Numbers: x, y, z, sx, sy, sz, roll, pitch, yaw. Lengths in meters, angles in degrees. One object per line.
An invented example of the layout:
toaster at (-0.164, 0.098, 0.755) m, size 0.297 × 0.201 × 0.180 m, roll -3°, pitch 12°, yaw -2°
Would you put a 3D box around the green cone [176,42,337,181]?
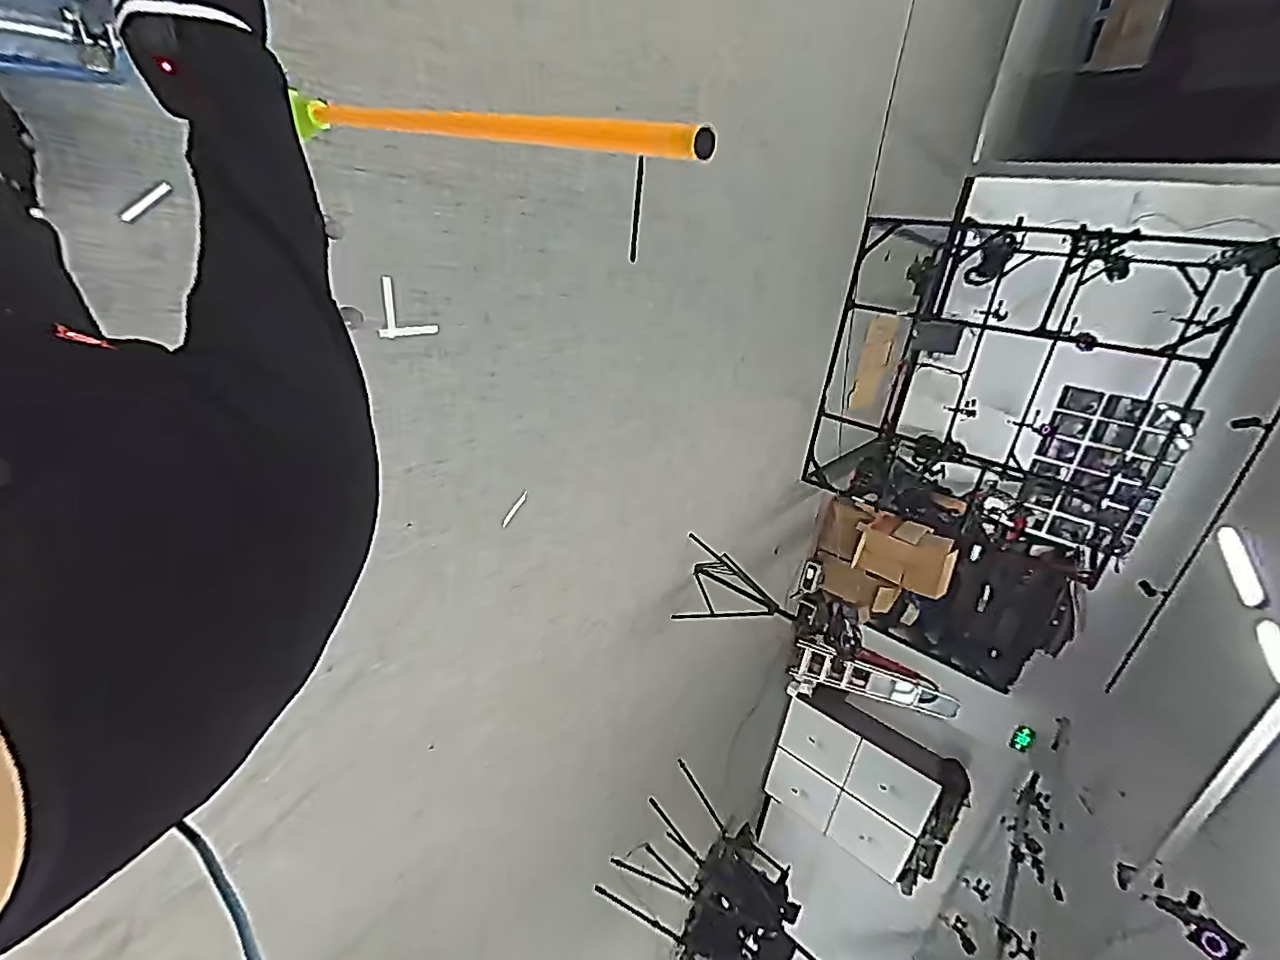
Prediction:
green cone at (-0.679, -0.684, 1.012) m, size 0.202 × 0.368 × 0.200 m, roll -17°, pitch 123°, yaw -51°
